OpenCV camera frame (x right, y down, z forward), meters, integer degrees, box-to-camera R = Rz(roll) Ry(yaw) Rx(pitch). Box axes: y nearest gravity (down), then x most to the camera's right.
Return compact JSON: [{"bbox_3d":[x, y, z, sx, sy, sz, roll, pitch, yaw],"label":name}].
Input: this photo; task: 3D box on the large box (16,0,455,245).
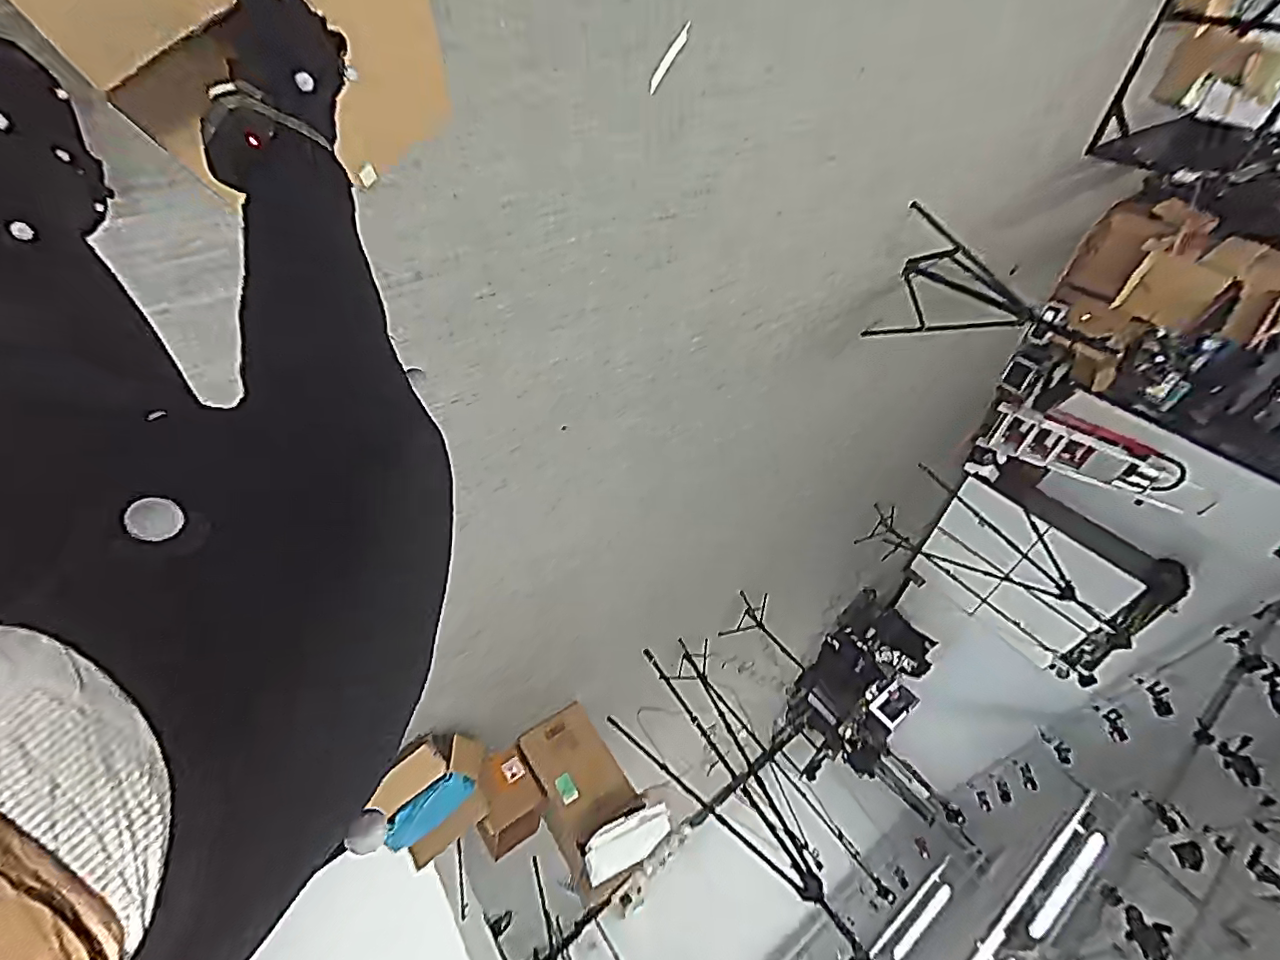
[{"bbox_3d":[-0.471,-0.554,0.576,0.320,0.408,0.320,-44,-171,-5],"label":"large box"}]
